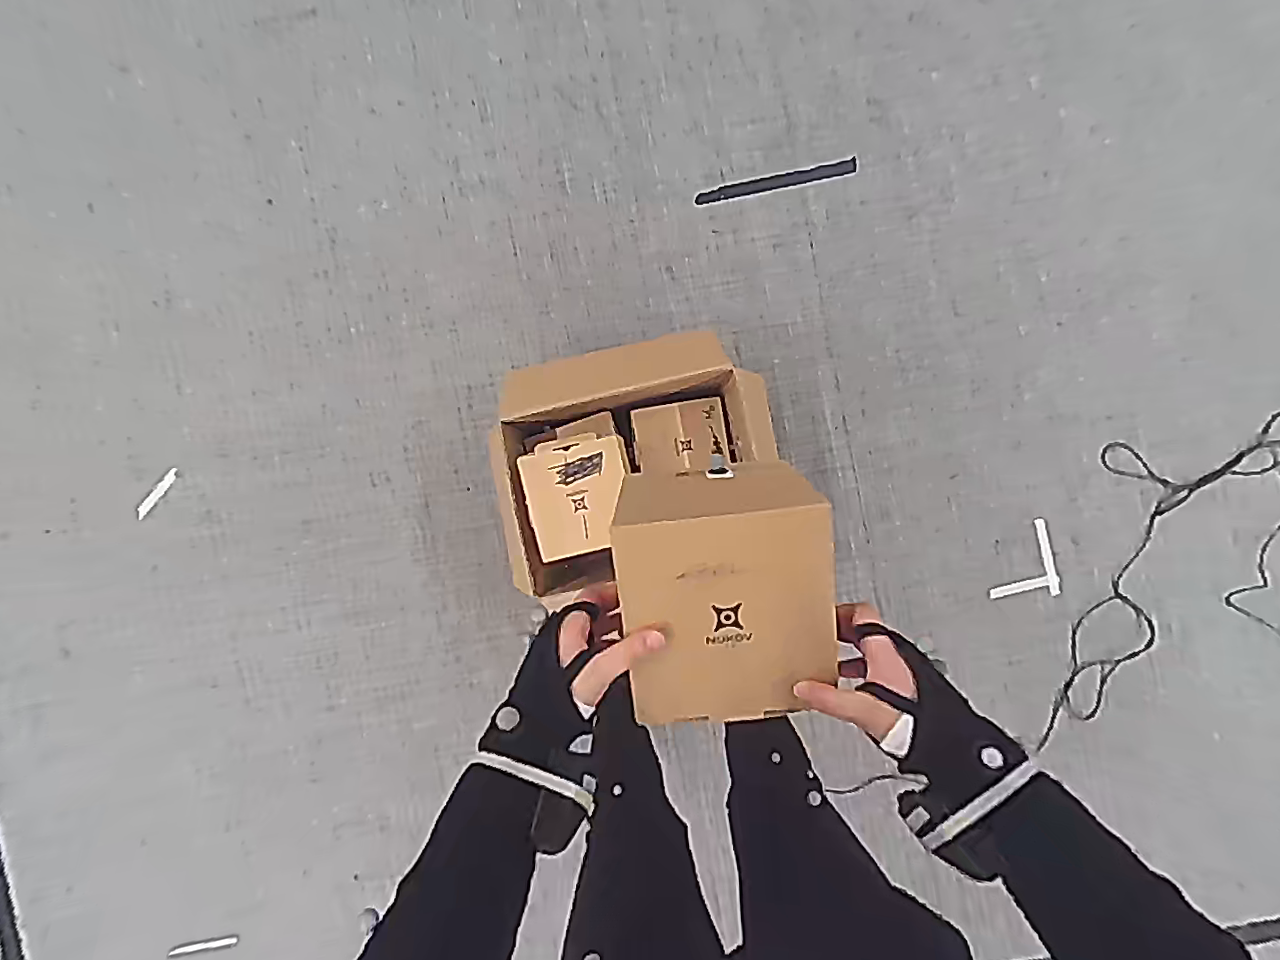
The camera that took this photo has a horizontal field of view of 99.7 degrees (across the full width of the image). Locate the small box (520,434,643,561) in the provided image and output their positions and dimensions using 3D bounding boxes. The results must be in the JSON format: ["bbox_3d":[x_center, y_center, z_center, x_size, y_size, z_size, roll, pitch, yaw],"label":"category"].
[{"bbox_3d":[-0.092,0.026,0.932,0.168,0.176,0.179,-13,93,3],"label":"small box"}]
